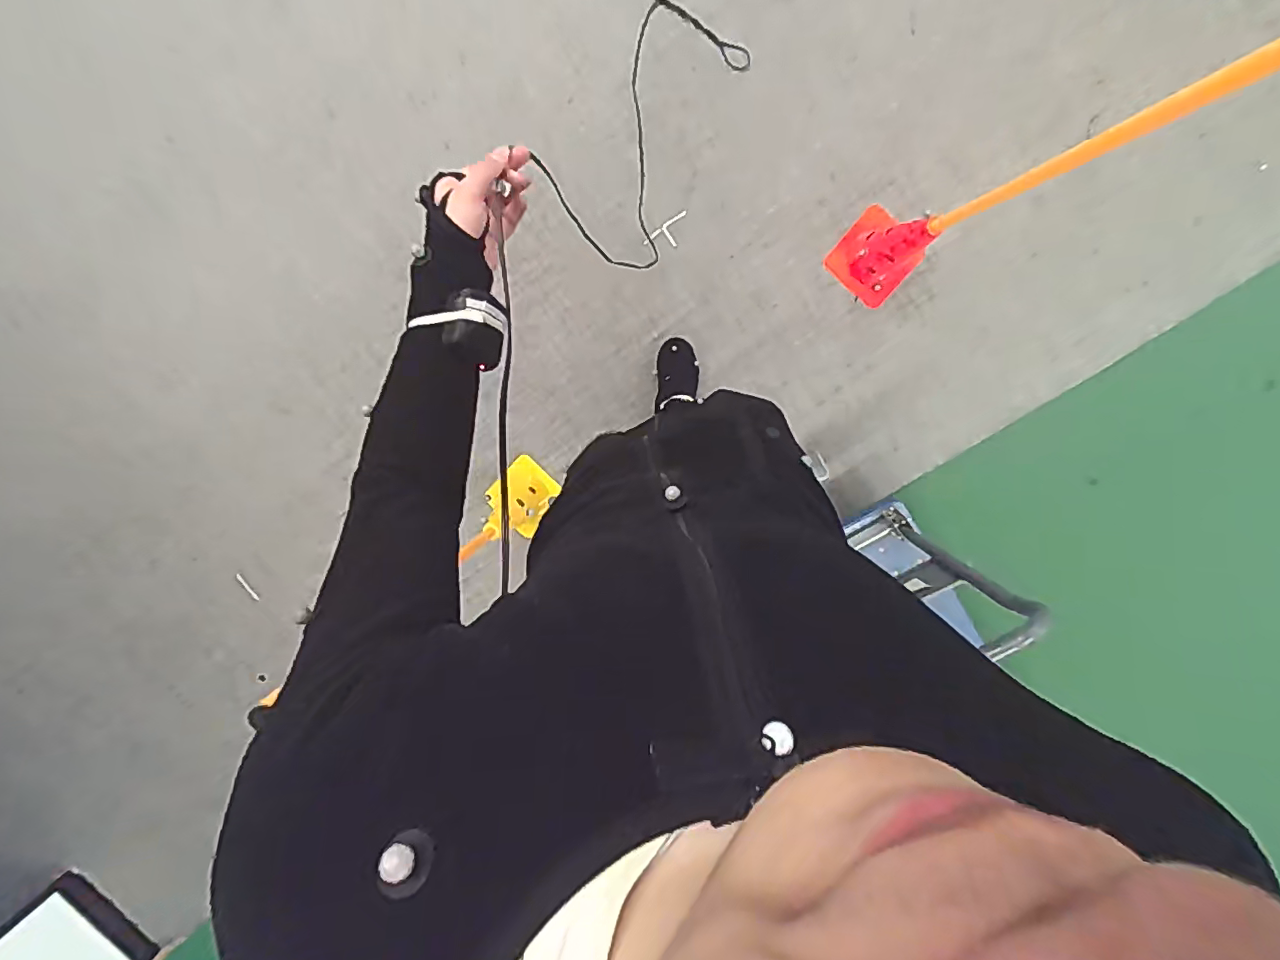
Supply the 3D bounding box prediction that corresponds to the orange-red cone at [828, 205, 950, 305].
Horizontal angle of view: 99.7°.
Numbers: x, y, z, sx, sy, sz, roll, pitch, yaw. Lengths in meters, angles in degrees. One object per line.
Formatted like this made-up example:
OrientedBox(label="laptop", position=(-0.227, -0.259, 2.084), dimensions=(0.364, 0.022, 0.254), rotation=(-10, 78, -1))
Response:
OrientedBox(label="orange-red cone", position=(0.620, -0.560, 1.269), dimensions=(0.198, 0.360, 0.199), rotation=(40, 100, -6))
